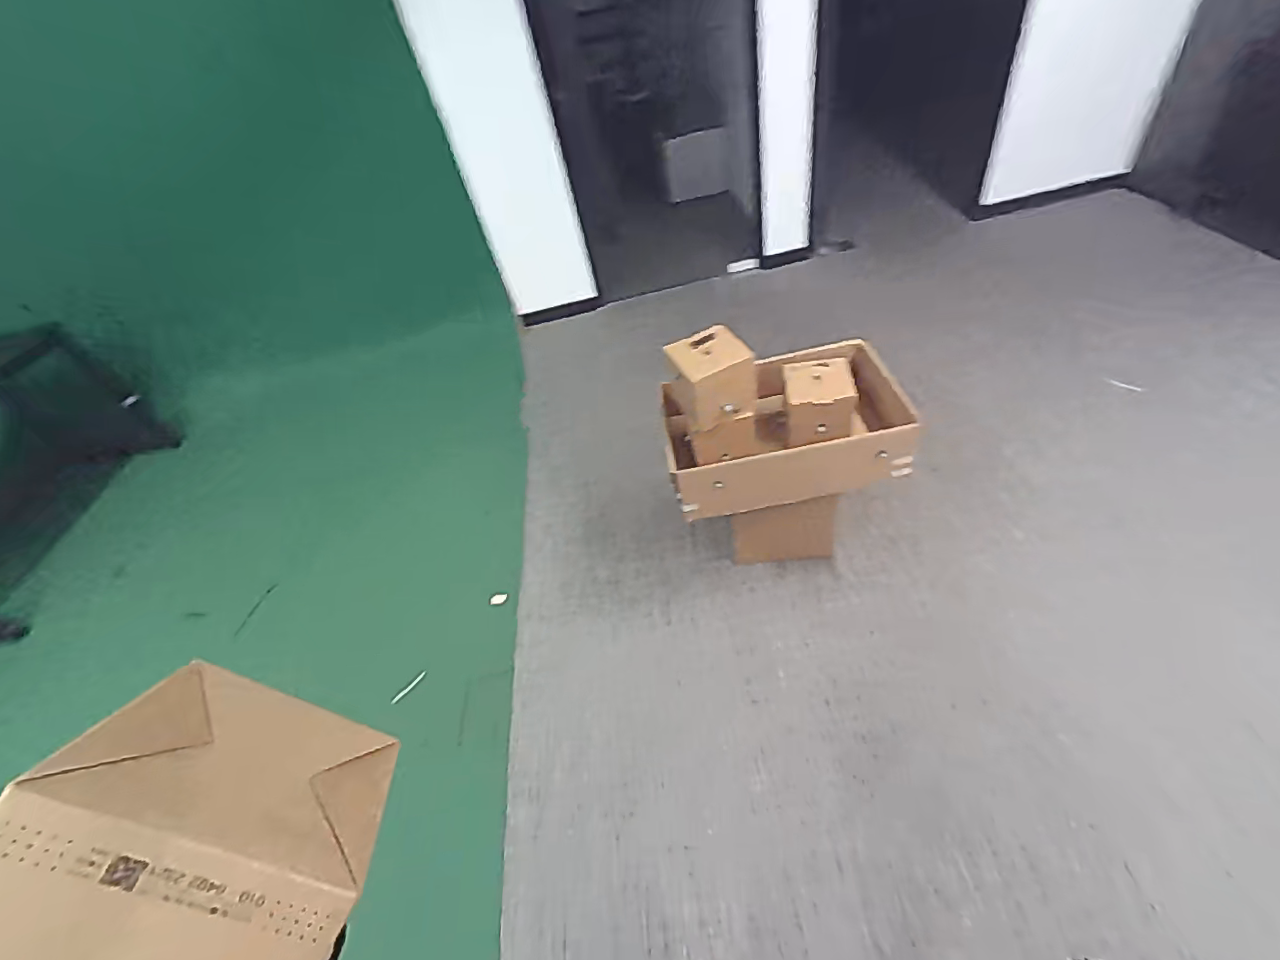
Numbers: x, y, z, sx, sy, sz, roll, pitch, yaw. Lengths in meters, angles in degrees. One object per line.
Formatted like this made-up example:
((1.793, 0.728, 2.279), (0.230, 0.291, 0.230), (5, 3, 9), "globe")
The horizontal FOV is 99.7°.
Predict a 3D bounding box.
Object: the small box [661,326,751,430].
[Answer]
((0.170, -0.259, 1.381), (0.168, 0.176, 0.179), (-24, 47, -7), "small box")

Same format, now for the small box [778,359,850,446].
((0.471, -0.204, 1.480), (0.168, 0.176, 0.179), (-3, 47, 10), "small box")
